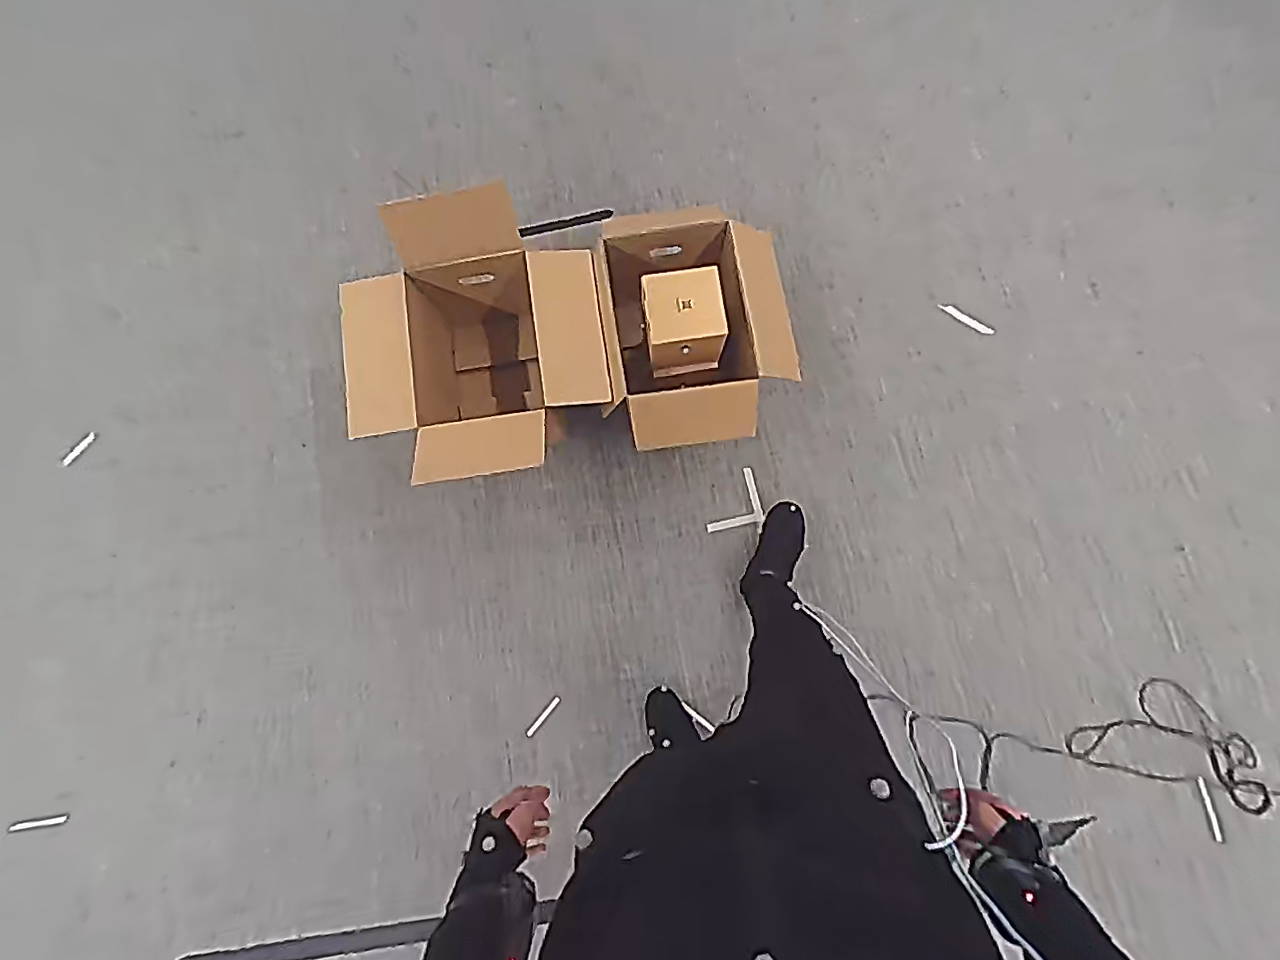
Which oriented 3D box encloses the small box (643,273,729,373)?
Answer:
[{"bbox_3d":[0.104,-0.366,1.286,0.179,0.176,0.168,-8,82,1],"label":"small box"}]
